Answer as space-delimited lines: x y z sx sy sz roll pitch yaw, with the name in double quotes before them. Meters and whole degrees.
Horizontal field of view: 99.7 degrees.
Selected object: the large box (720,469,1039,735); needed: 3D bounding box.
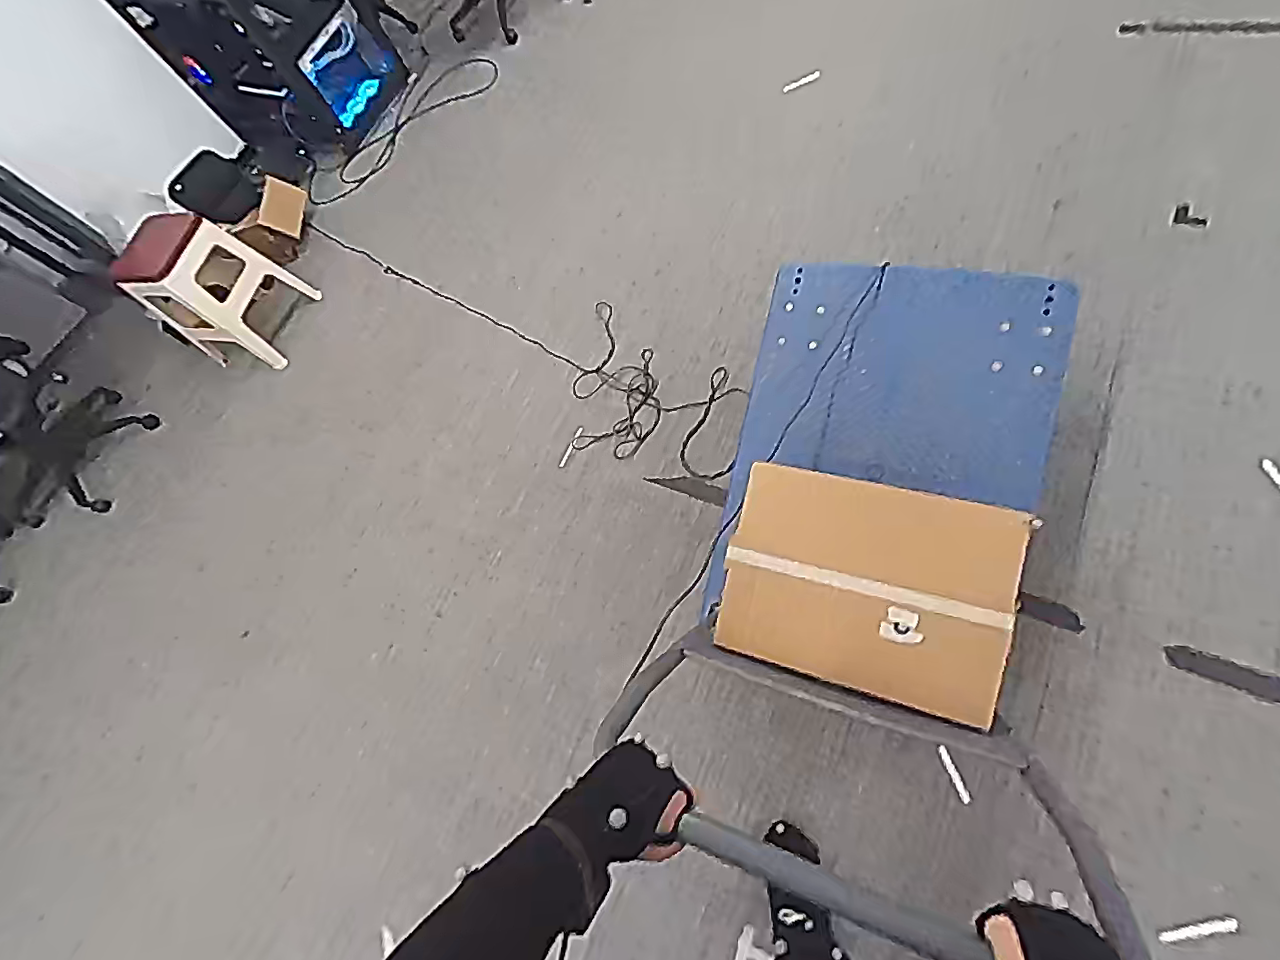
"large box" 0.387 0.184 0.949 0.408 0.320 0.320 12 88 20
